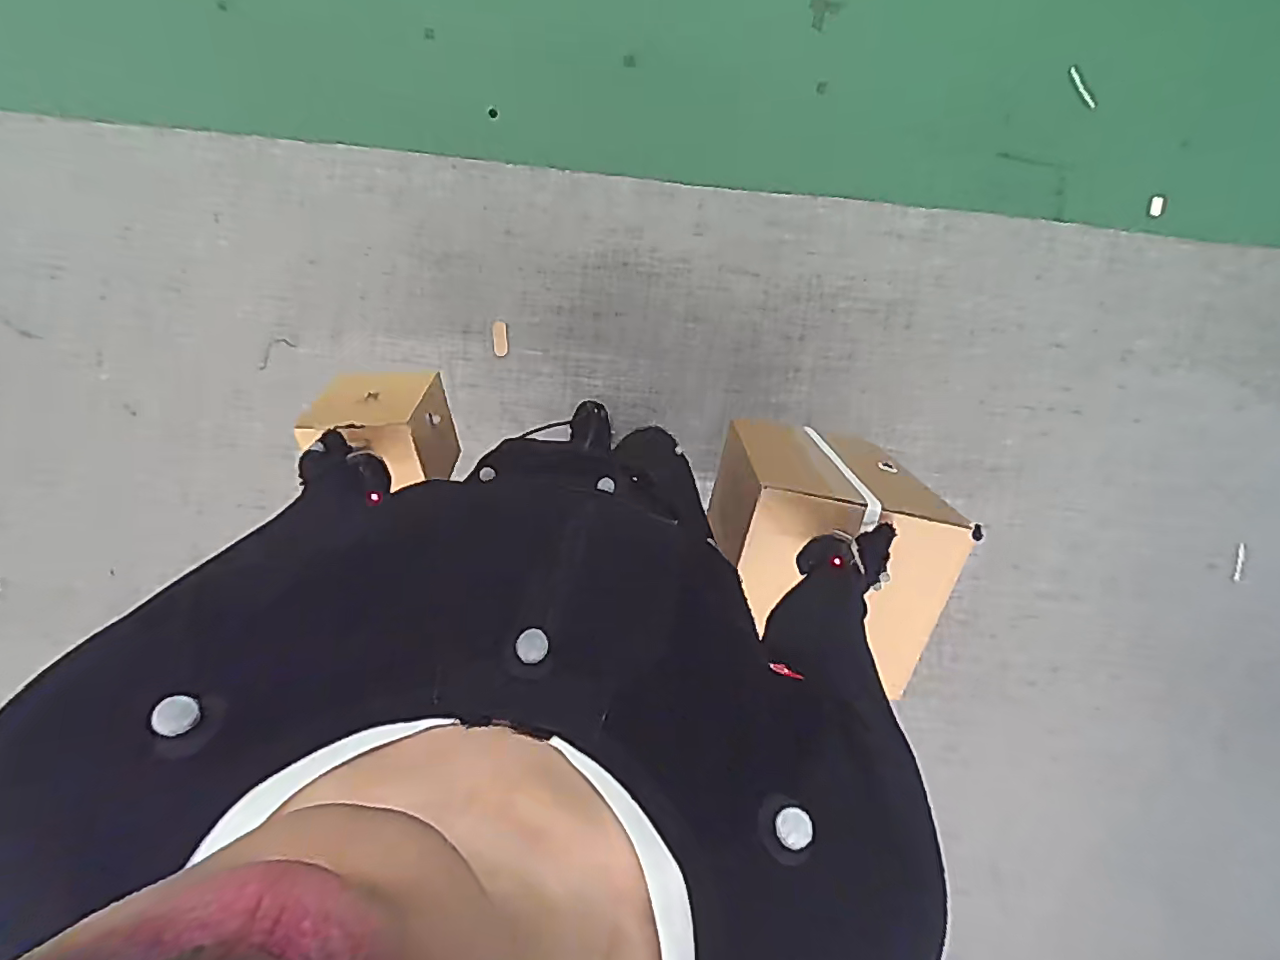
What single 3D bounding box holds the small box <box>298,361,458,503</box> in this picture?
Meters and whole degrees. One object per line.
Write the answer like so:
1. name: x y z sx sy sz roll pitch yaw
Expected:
1. small box: -0.410 -0.079 0.885 0.168 0.179 0.176 -2 129 -1
